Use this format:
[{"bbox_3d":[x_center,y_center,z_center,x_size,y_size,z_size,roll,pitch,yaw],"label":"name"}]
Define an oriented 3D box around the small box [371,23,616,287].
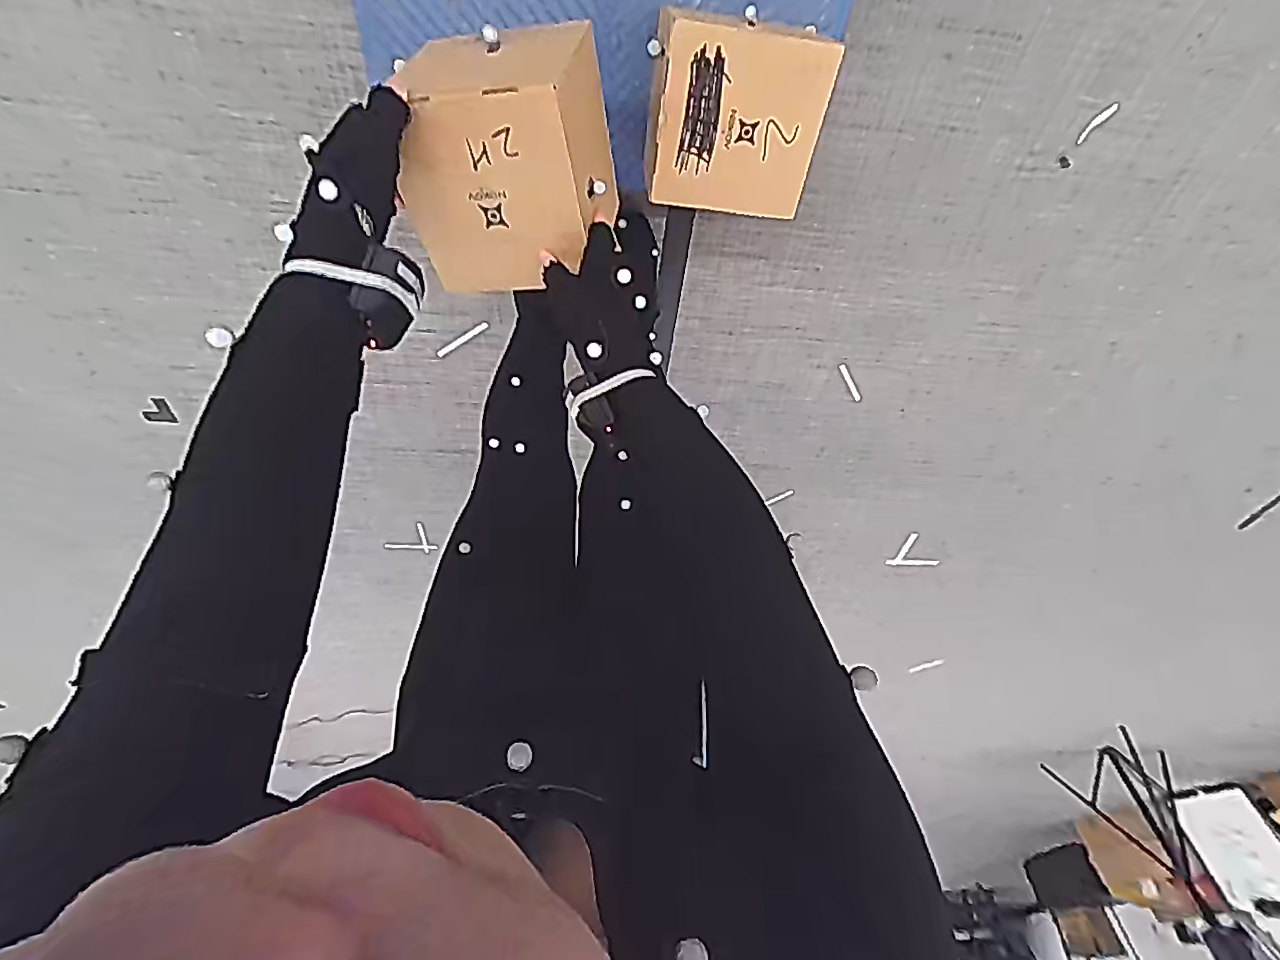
[{"bbox_3d":[-0.123,-0.319,0.542,0.168,0.176,0.179,1,142,9],"label":"small box"}]
